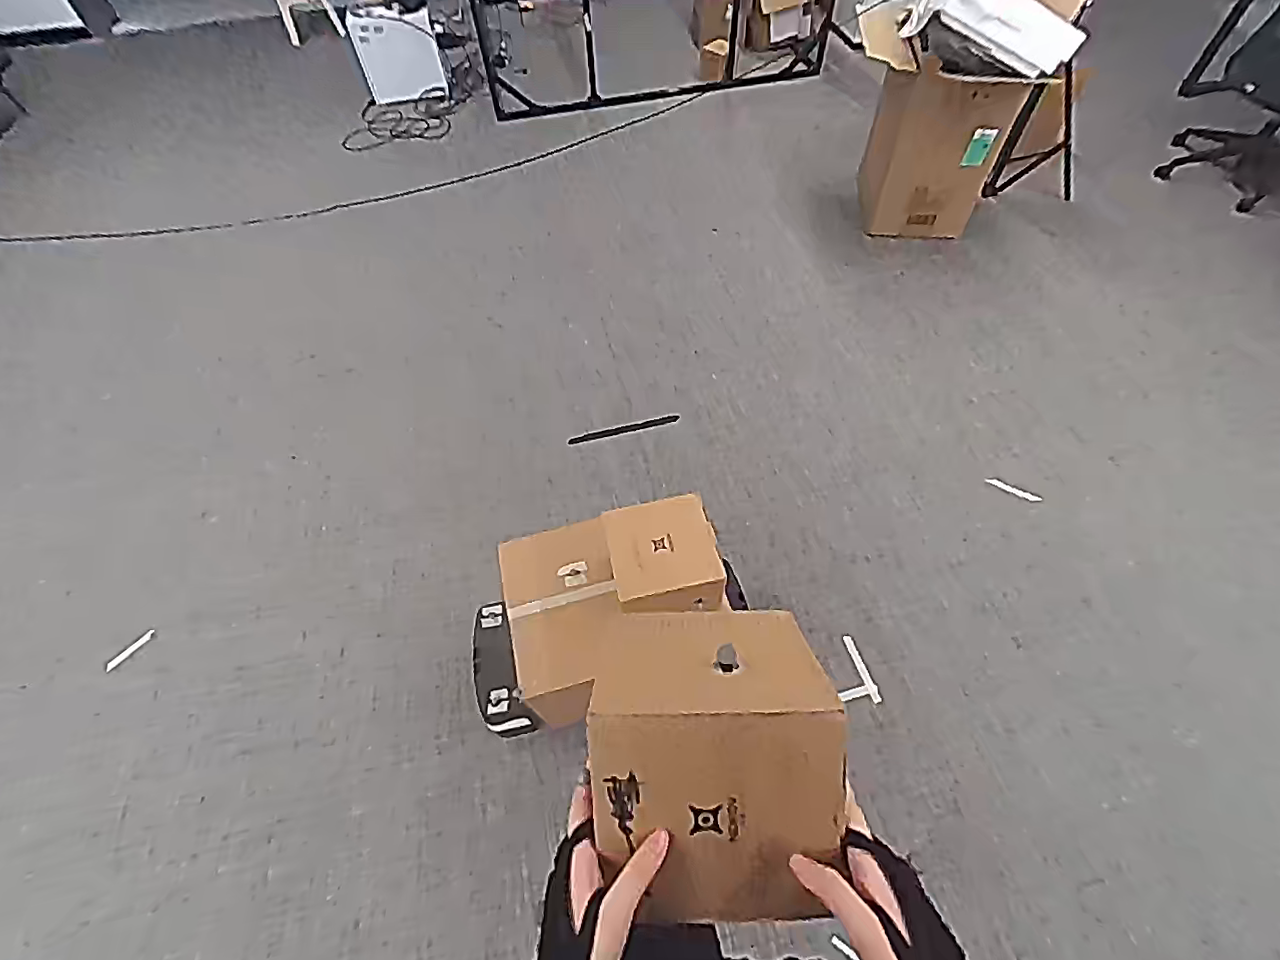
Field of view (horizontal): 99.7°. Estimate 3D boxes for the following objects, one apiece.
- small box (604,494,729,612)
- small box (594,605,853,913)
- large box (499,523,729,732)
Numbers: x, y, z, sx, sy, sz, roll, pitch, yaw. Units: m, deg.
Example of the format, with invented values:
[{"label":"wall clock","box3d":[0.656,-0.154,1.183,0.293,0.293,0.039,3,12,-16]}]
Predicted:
[{"label":"small box","box3d":[0.041,0.149,0.941,0.179,0.176,0.168,-12,57,-5]},{"label":"small box","box3d":[0.057,0.211,0.450,0.179,0.176,0.168,-2,99,1]},{"label":"large box","box3d":[-0.042,0.295,1.144,0.408,0.320,0.320,-15,56,-6]}]
